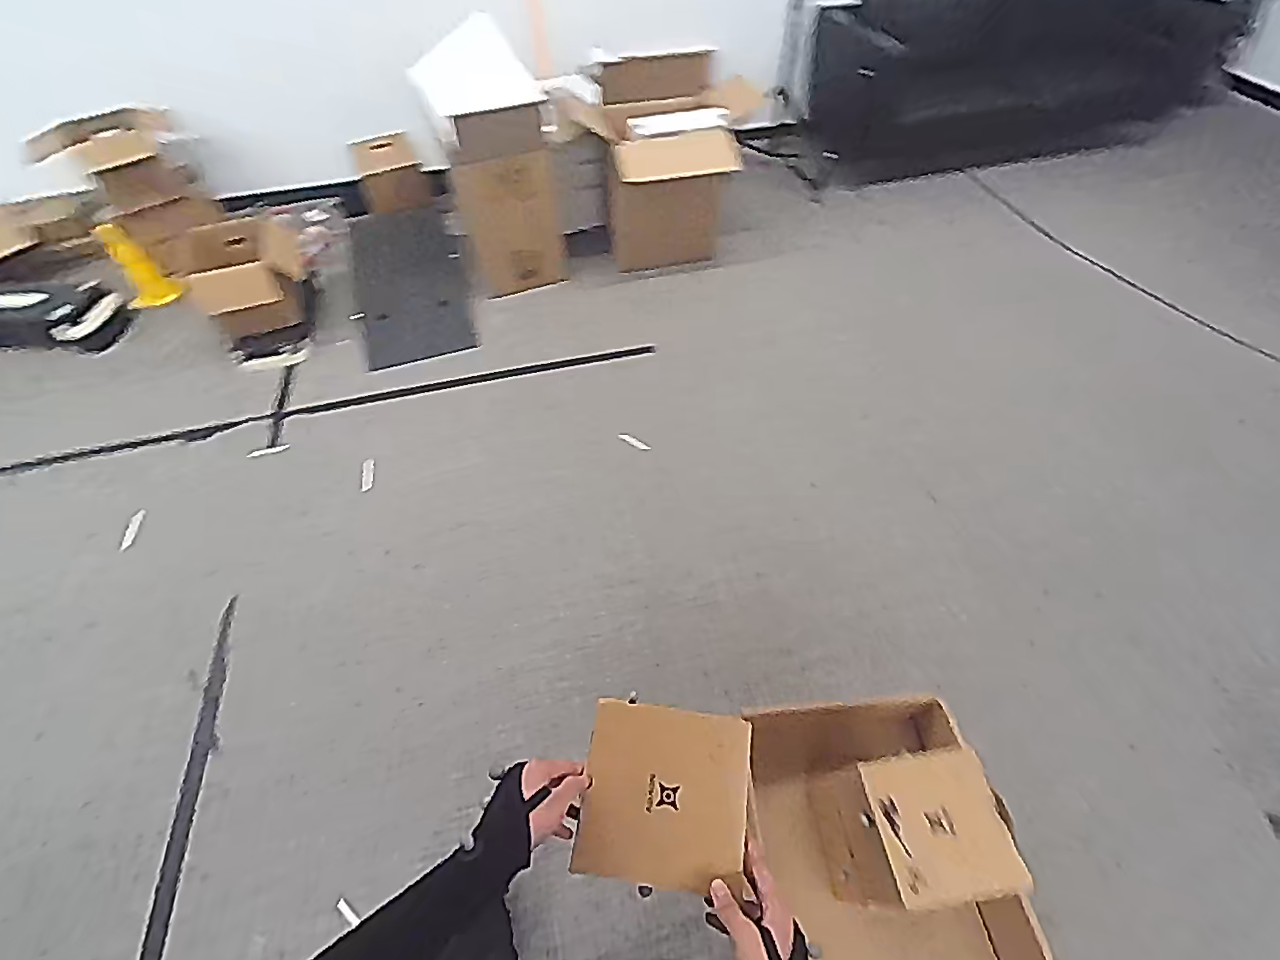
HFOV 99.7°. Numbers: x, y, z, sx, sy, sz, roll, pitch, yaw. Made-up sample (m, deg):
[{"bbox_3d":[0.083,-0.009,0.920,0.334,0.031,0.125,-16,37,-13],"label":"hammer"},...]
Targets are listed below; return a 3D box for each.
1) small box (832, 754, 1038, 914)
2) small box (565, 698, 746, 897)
[{"bbox_3d":[0.406,0.507,0.782,0.179,0.176,0.168,-6,55,-4],"label":"small box"},{"bbox_3d":[0.023,0.356,0.640,0.179,0.176,0.168,5,68,5],"label":"small box"}]
